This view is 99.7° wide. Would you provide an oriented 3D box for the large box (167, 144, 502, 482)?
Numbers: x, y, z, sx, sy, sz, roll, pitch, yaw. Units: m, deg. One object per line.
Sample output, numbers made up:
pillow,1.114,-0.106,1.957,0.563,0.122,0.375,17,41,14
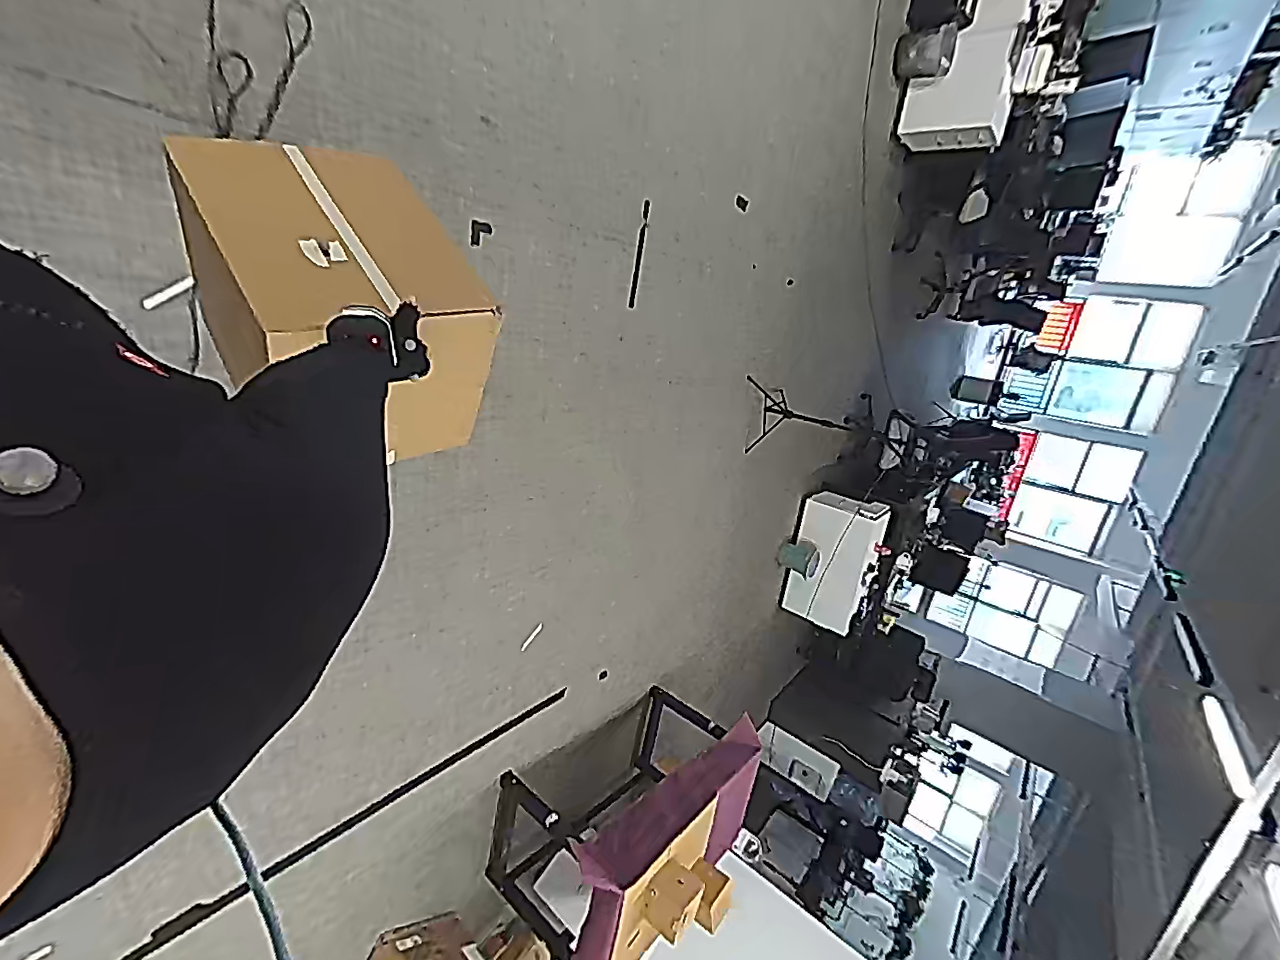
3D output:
large box,-0.495,-0.271,0.893,0.320,0.408,0.320,-23,158,-40
